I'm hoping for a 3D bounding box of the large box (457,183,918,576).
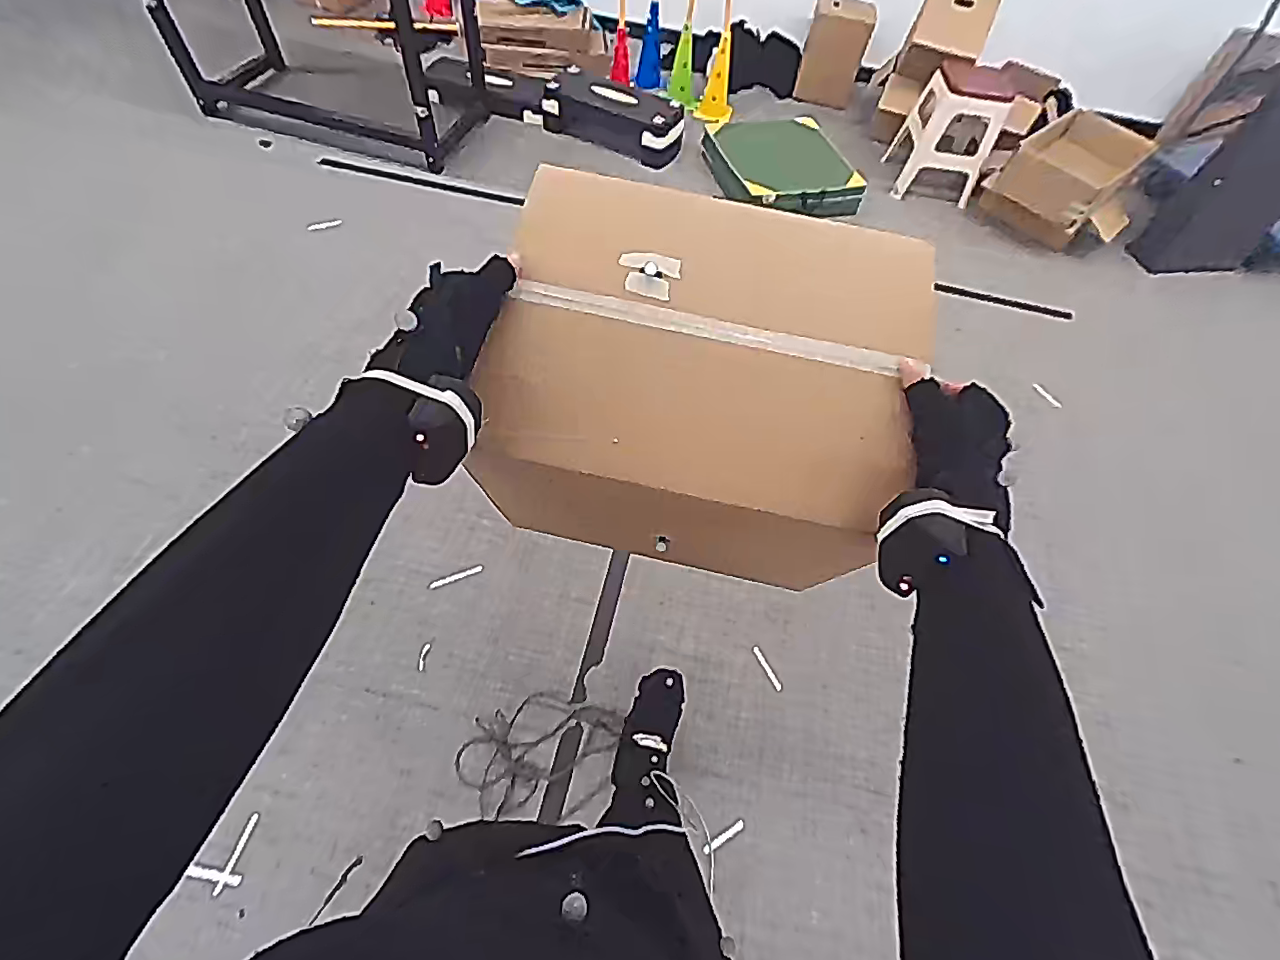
[{"bbox_3d":[0.060,-0.088,0.656,0.408,0.320,0.320,12,71,3],"label":"large box"}]
